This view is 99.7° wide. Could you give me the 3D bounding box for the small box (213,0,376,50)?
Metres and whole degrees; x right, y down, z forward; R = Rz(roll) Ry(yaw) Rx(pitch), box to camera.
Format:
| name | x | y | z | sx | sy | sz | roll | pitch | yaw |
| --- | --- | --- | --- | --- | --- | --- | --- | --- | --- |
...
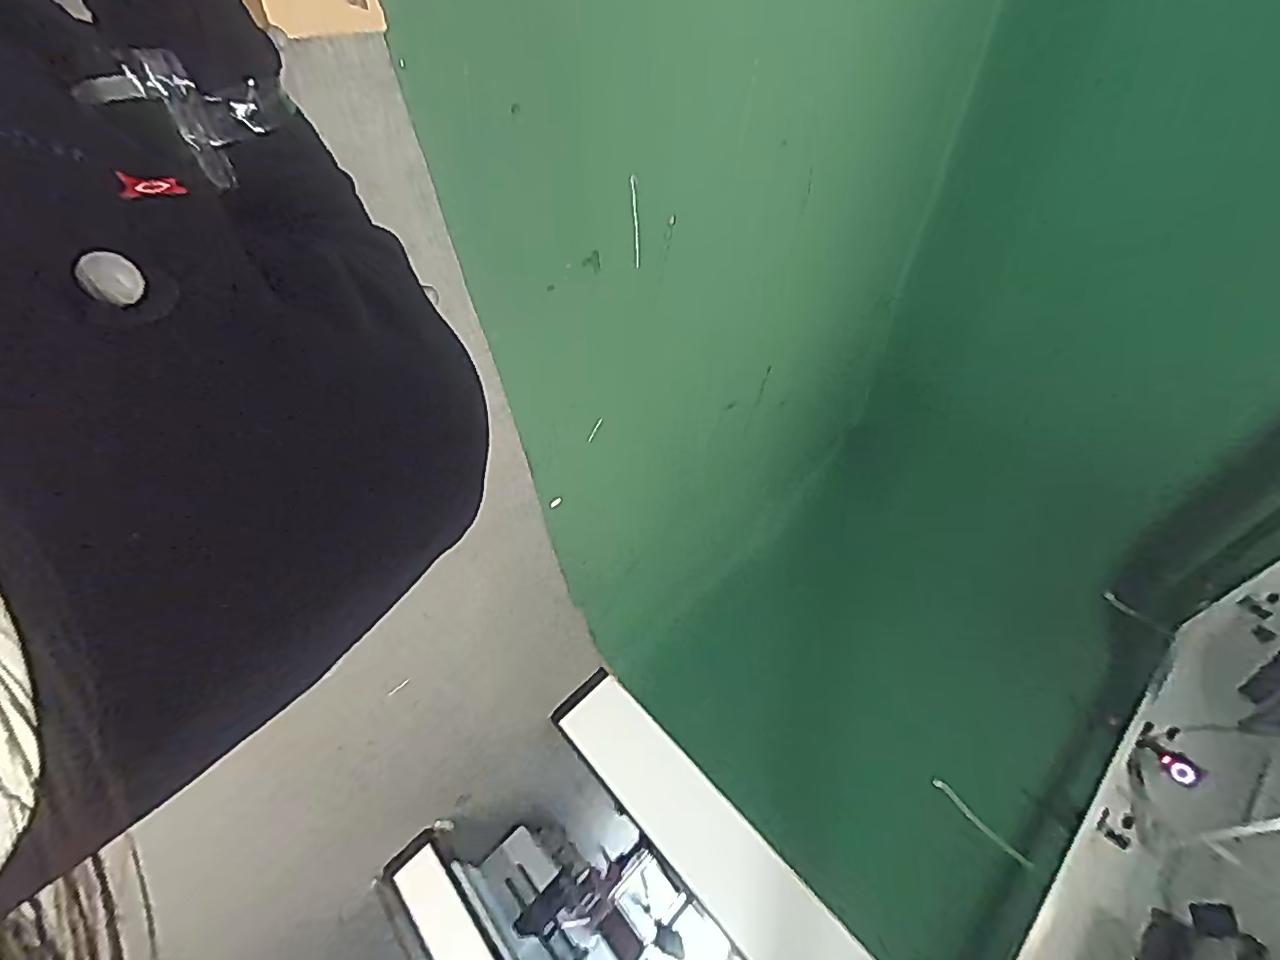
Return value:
| name | x | y | z | sx | sy | sz | roll | pitch | yaw |
| --- | --- | --- | --- | --- | --- | --- | --- | --- | --- |
| small box | -0.543 | -0.767 | 0.818 | 0.179 | 0.176 | 0.168 | -33 | 142 | -30 |
